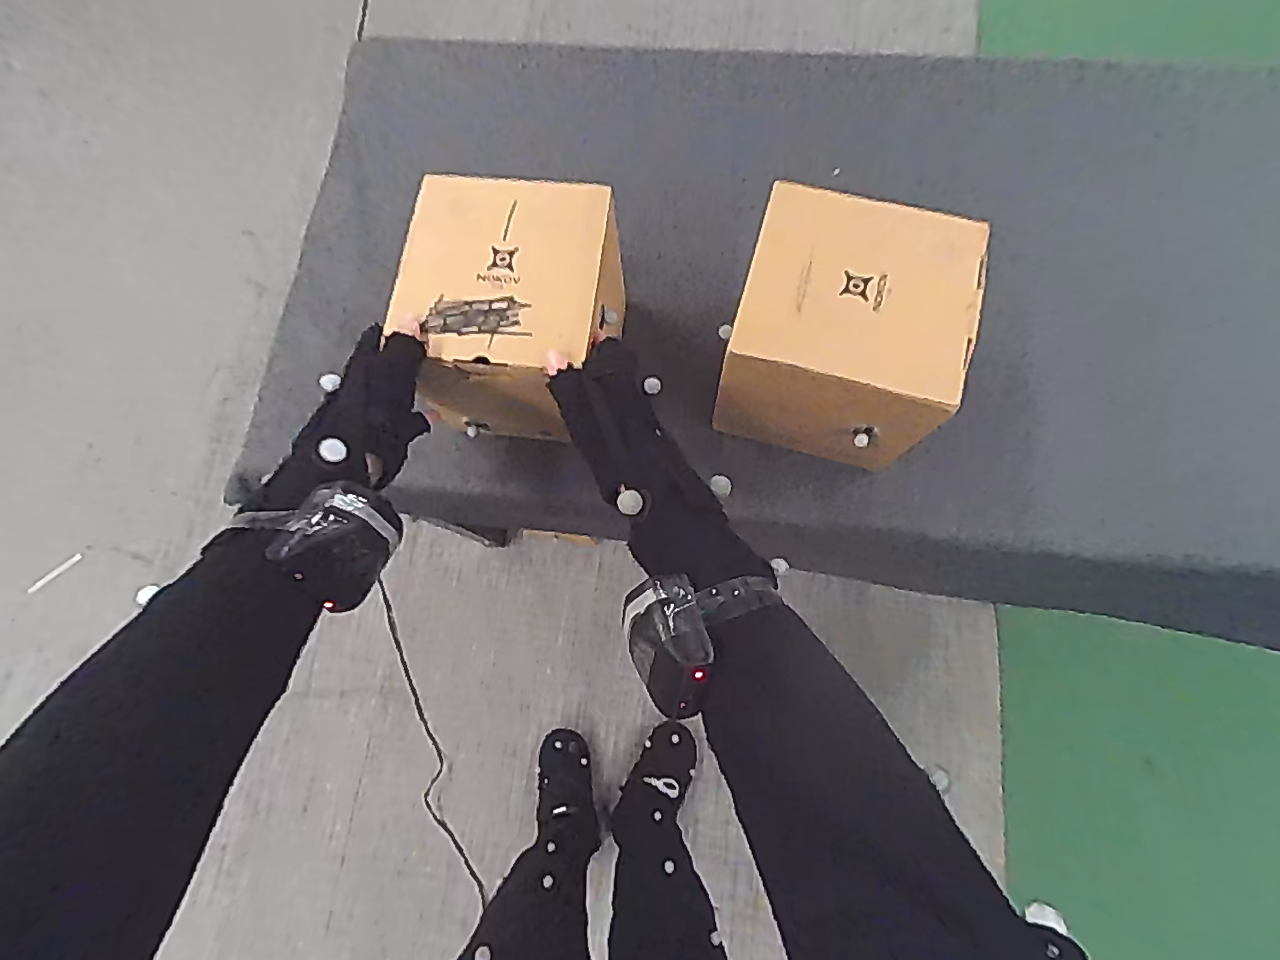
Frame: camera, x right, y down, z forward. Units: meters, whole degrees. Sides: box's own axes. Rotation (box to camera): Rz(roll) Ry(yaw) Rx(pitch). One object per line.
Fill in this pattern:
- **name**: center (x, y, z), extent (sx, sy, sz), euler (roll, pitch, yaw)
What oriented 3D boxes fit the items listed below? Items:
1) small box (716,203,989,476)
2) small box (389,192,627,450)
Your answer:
- **small box**: center (0.179, -0.114, 0.503), extent (0.179, 0.176, 0.168), euler (16, 76, 8)
- **small box**: center (-0.106, -0.139, 0.521), extent (0.168, 0.176, 0.179), euler (6, 74, 4)
